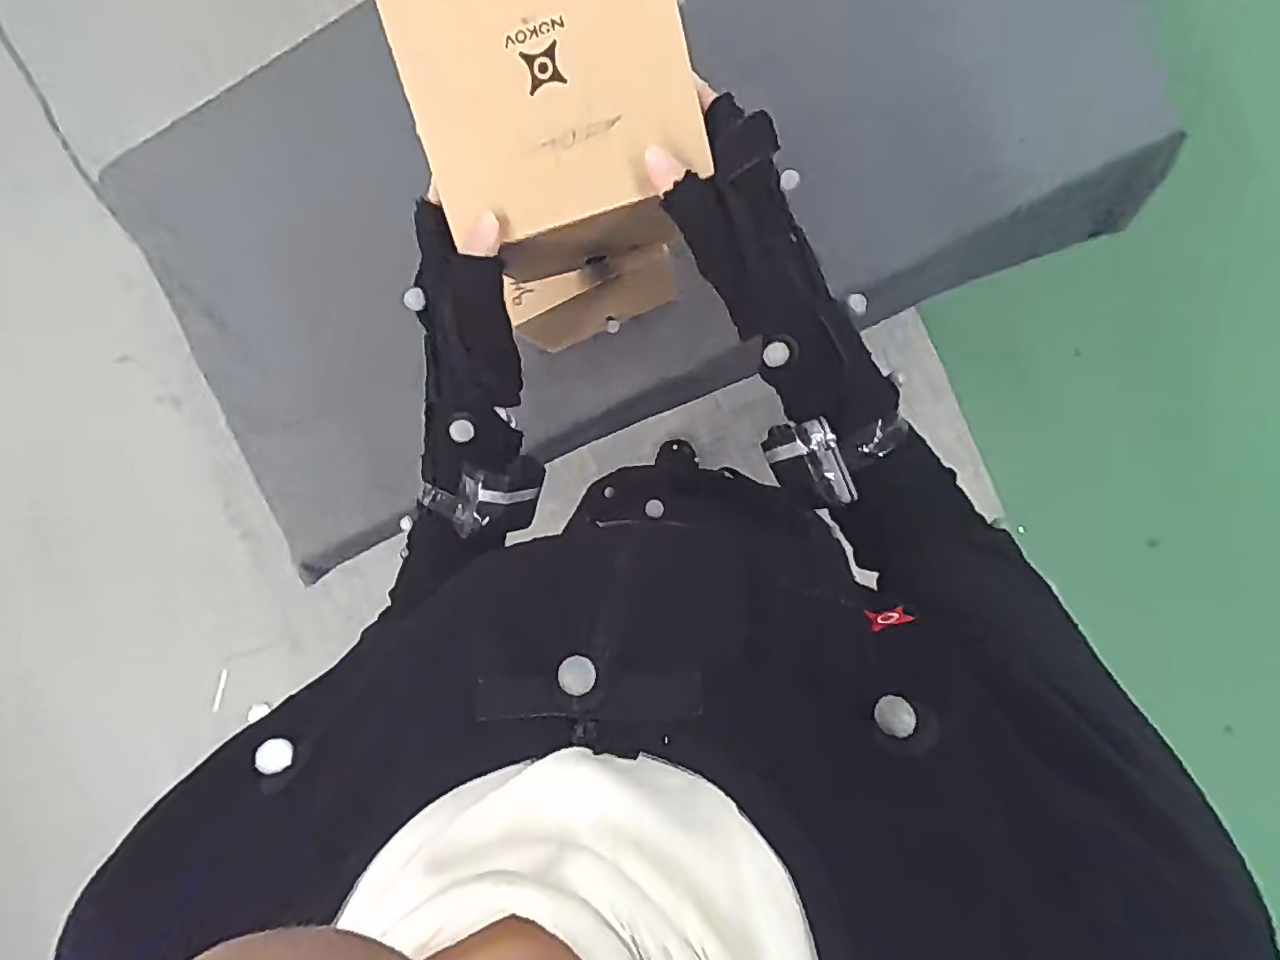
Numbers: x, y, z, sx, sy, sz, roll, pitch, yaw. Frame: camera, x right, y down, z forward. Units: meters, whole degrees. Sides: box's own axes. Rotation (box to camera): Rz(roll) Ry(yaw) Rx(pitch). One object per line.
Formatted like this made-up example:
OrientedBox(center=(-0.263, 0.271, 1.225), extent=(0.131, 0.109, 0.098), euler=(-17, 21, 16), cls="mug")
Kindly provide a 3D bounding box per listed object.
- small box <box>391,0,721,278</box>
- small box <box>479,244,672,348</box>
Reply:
OrientedBox(center=(-0.046, -0.262, 0.386), extent=(0.168, 0.176, 0.179), euler=(-14, 103, 7), cls="small box")
OrientedBox(center=(-0.072, -0.268, 0.610), extent=(0.179, 0.176, 0.168), euler=(-23, 91, 8), cls="small box")
